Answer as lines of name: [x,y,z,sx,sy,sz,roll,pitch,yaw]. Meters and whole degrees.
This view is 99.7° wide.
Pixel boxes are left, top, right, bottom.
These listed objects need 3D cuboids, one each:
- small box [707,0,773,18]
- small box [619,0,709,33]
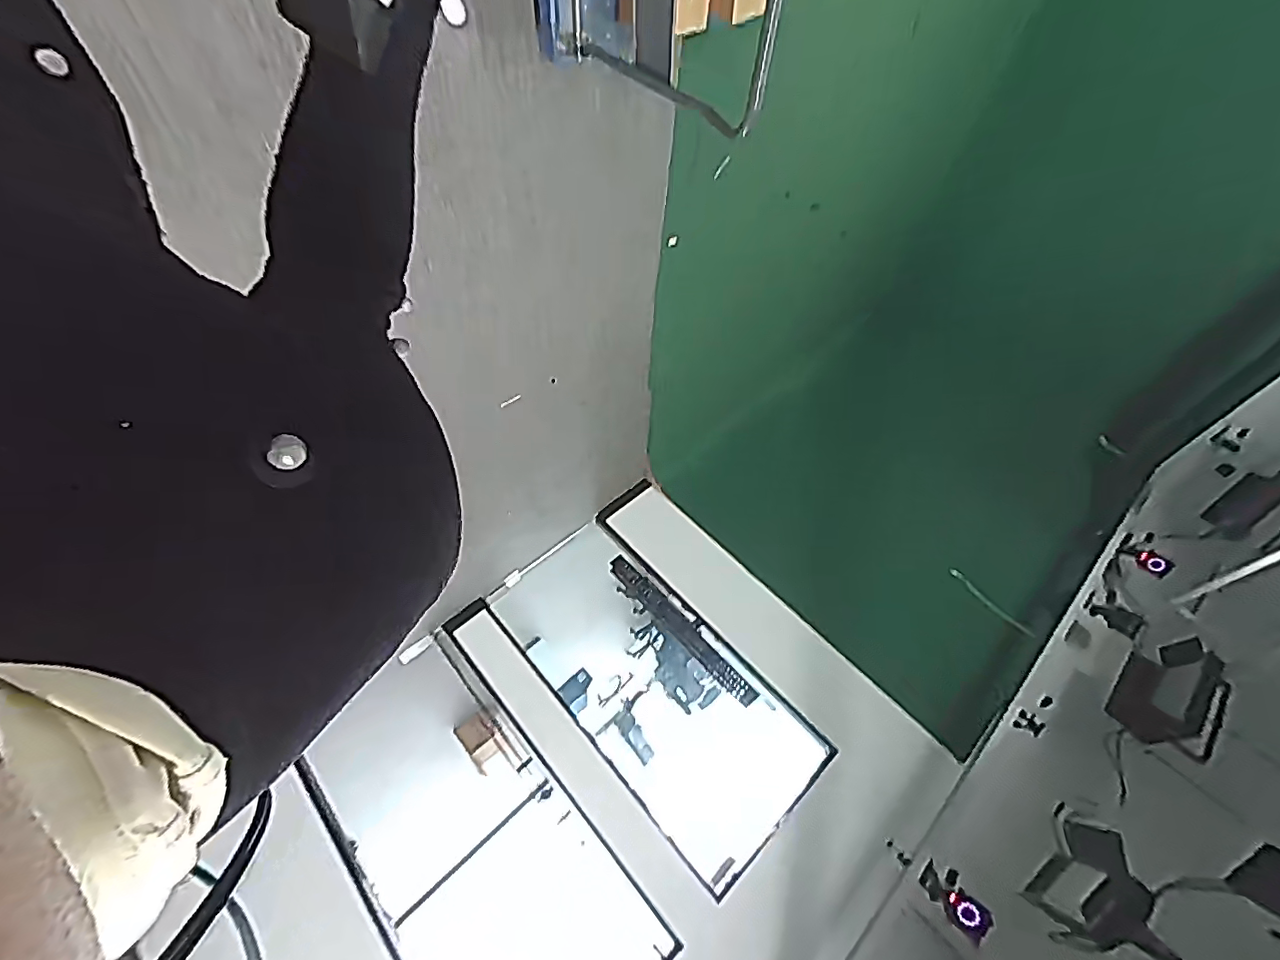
small box: [0.268,-1.432,1.507,0.179,0.176,0.168,-36,153,-21]
small box: [0.067,-1.293,1.395,0.179,0.176,0.168,-34,153,-25]
